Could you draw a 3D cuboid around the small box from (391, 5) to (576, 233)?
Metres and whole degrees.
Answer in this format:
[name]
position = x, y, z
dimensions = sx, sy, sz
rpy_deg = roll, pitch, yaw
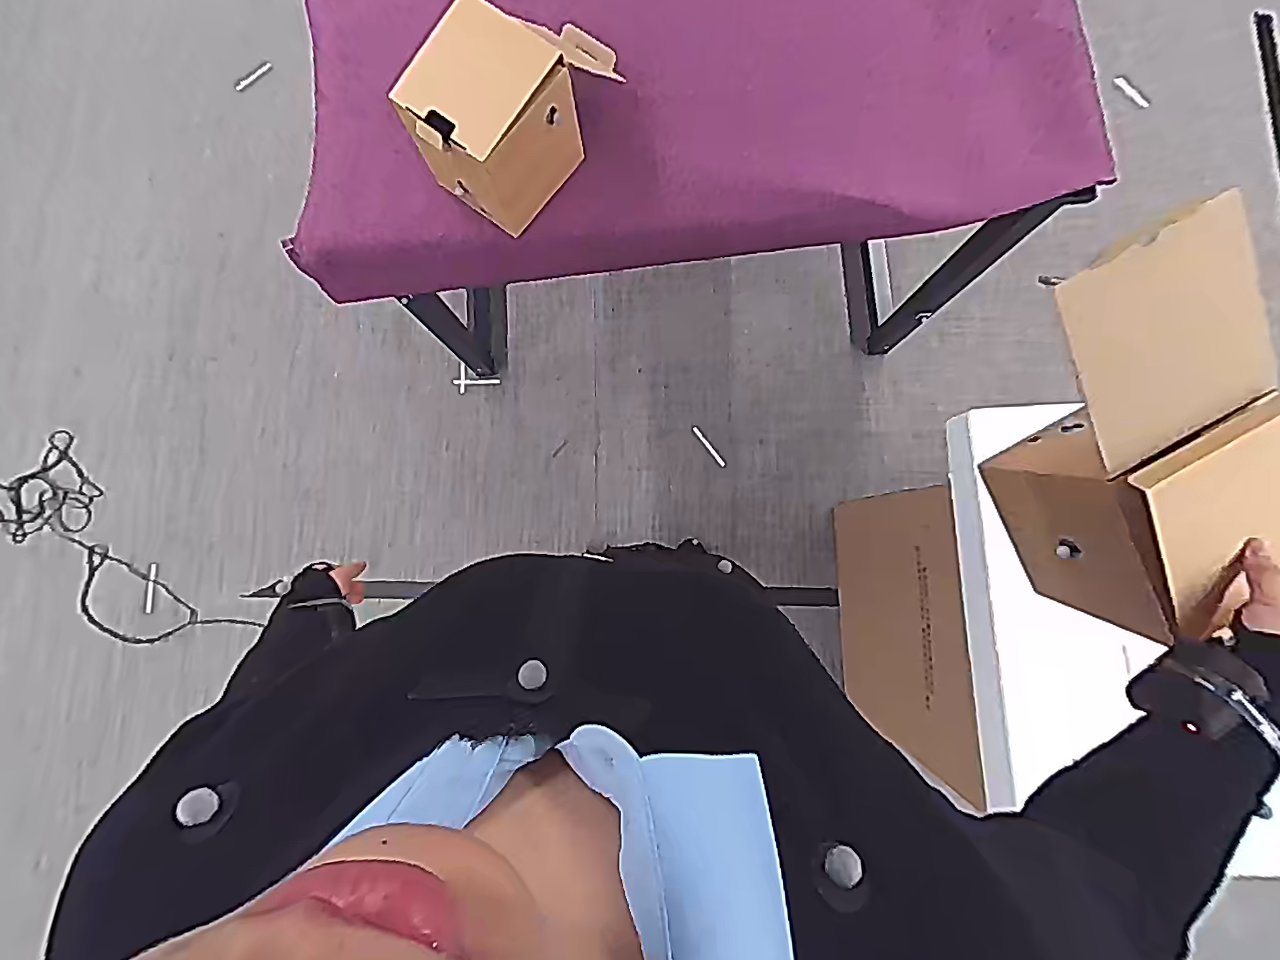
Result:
[small box]
position = -0.208, -0.506, 0.780
dimensions = 0.168, 0.176, 0.179
rpy_deg = 37, 85, 7
